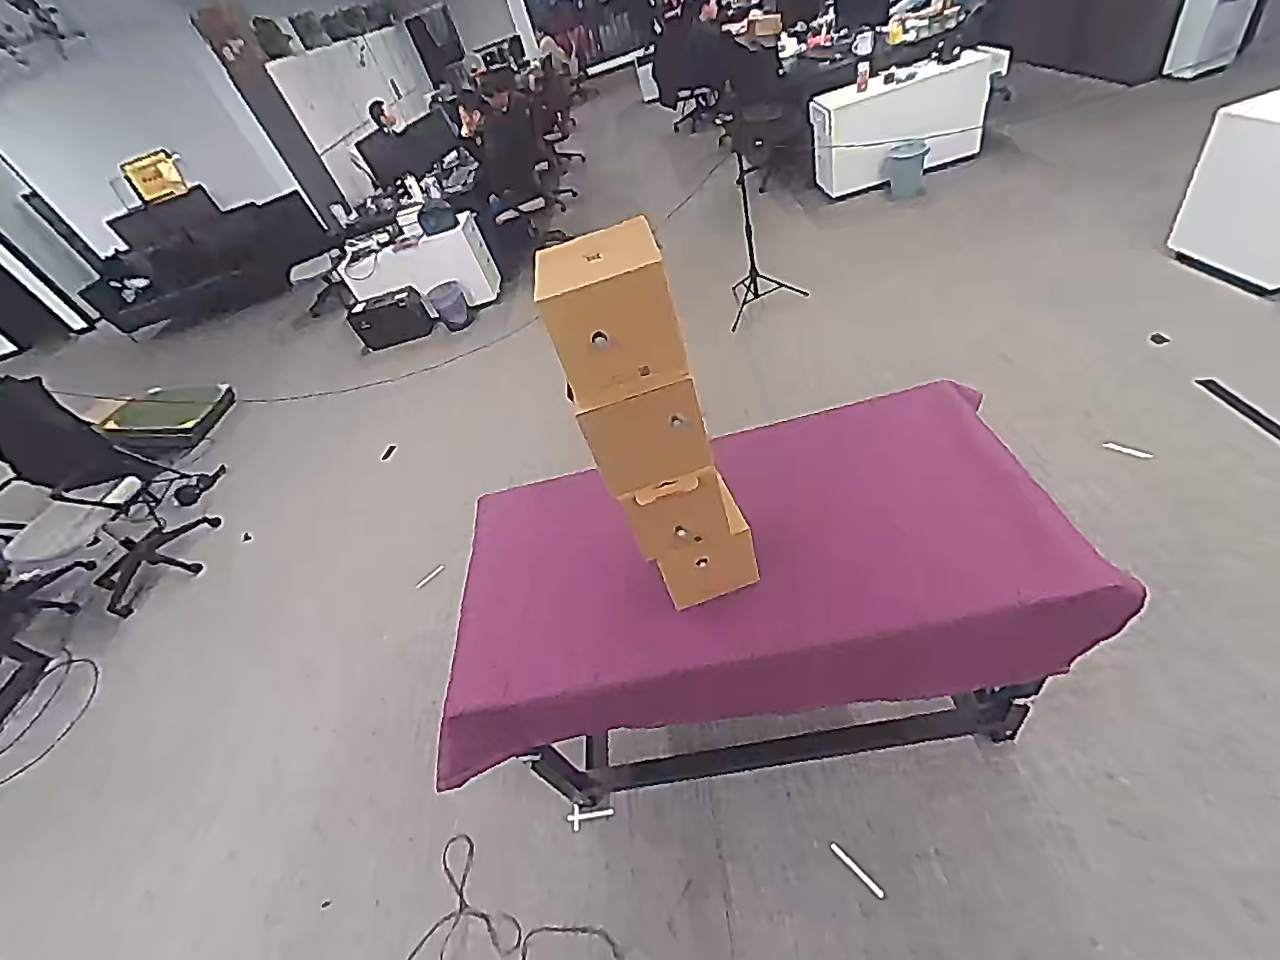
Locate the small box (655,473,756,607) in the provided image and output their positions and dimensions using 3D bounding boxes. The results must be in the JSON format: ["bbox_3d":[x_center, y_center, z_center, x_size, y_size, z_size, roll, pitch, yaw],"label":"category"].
[{"bbox_3d":[0.114,0.123,1.068,0.179,0.176,0.168,-20,43,0],"label":"small box"}]

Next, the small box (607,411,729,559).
[{"bbox_3d":[0.049,0.010,0.965,0.168,0.176,0.179,-18,42,5],"label":"small box"}]

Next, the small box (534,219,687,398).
[{"bbox_3d":[-0.040,-0.234,0.764,0.168,0.176,0.179,-17,41,5],"label":"small box"}]
